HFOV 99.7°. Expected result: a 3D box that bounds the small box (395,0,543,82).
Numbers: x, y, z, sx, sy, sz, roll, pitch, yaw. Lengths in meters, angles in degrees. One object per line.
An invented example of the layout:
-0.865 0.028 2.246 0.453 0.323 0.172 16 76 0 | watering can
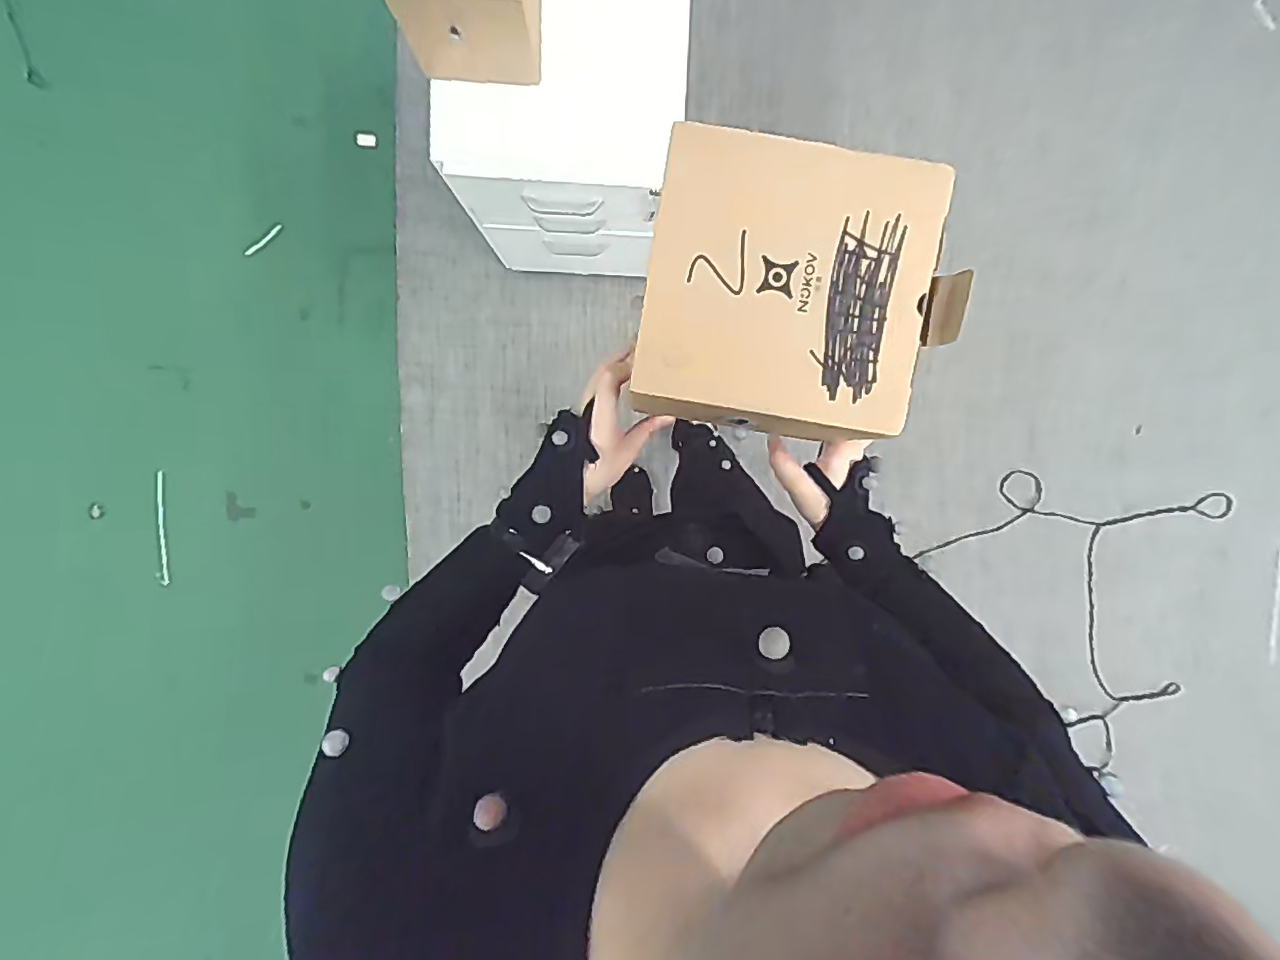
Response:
-0.234 -0.689 0.745 0.179 0.176 0.168 1 95 -3 | small box
